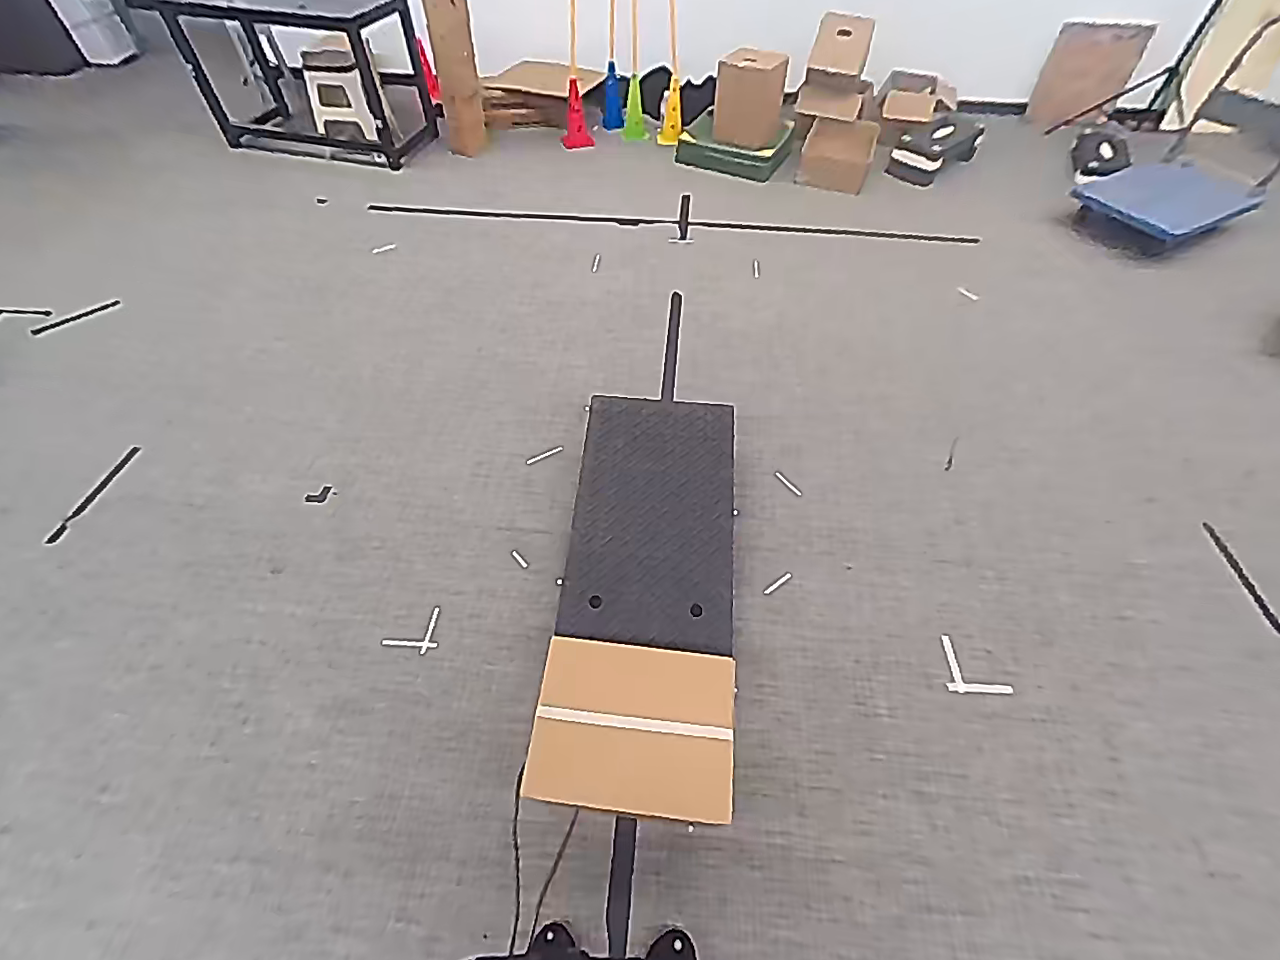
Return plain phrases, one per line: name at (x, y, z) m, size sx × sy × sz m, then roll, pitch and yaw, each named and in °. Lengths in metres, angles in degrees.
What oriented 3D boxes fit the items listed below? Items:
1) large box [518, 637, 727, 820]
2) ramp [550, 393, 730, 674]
large box at (-0.025, 0.572, 1.231) m, size 0.408 × 0.320 × 0.320 m, roll 6°, pitch 57°, yaw 2°
ramp at (0.025, 0.164, 1.632) m, size 0.509 × 0.206 × 0.991 m, roll 4°, pitch 53°, yaw -1°
